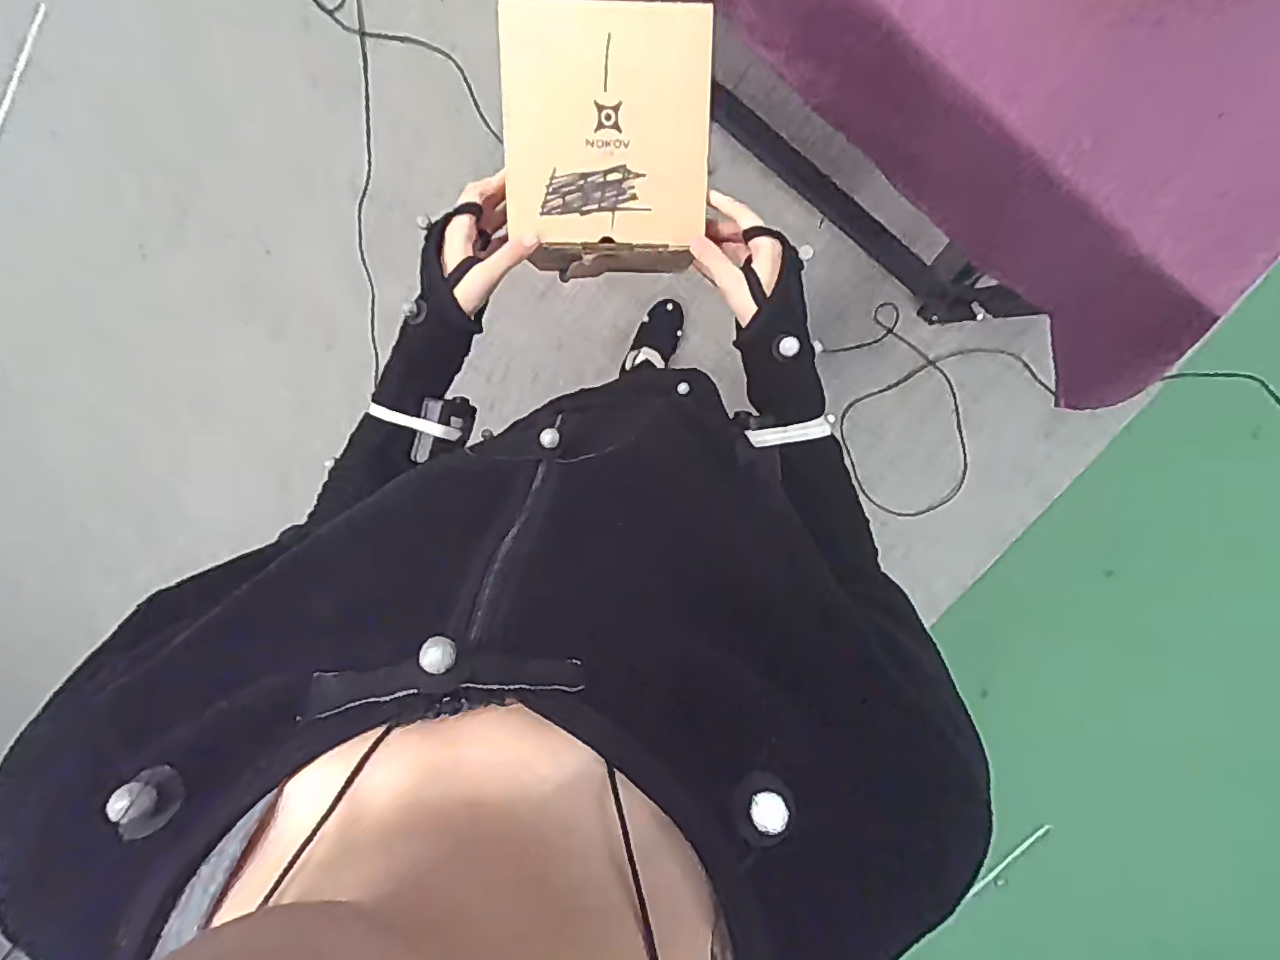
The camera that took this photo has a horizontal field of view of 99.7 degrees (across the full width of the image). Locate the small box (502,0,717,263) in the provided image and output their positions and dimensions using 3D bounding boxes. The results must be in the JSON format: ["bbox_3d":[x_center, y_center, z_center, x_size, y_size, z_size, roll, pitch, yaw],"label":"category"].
[{"bbox_3d":[-0.026,-0.304,0.505,0.168,0.176,0.179,0,104,-2],"label":"small box"}]

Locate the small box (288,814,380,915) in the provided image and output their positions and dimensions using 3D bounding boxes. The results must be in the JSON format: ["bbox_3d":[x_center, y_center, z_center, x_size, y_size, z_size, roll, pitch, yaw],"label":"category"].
[{"bbox_3d":[-0.982,1.240,1.752,0.168,0.176,0.179,36,101,-7],"label":"small box"}]
